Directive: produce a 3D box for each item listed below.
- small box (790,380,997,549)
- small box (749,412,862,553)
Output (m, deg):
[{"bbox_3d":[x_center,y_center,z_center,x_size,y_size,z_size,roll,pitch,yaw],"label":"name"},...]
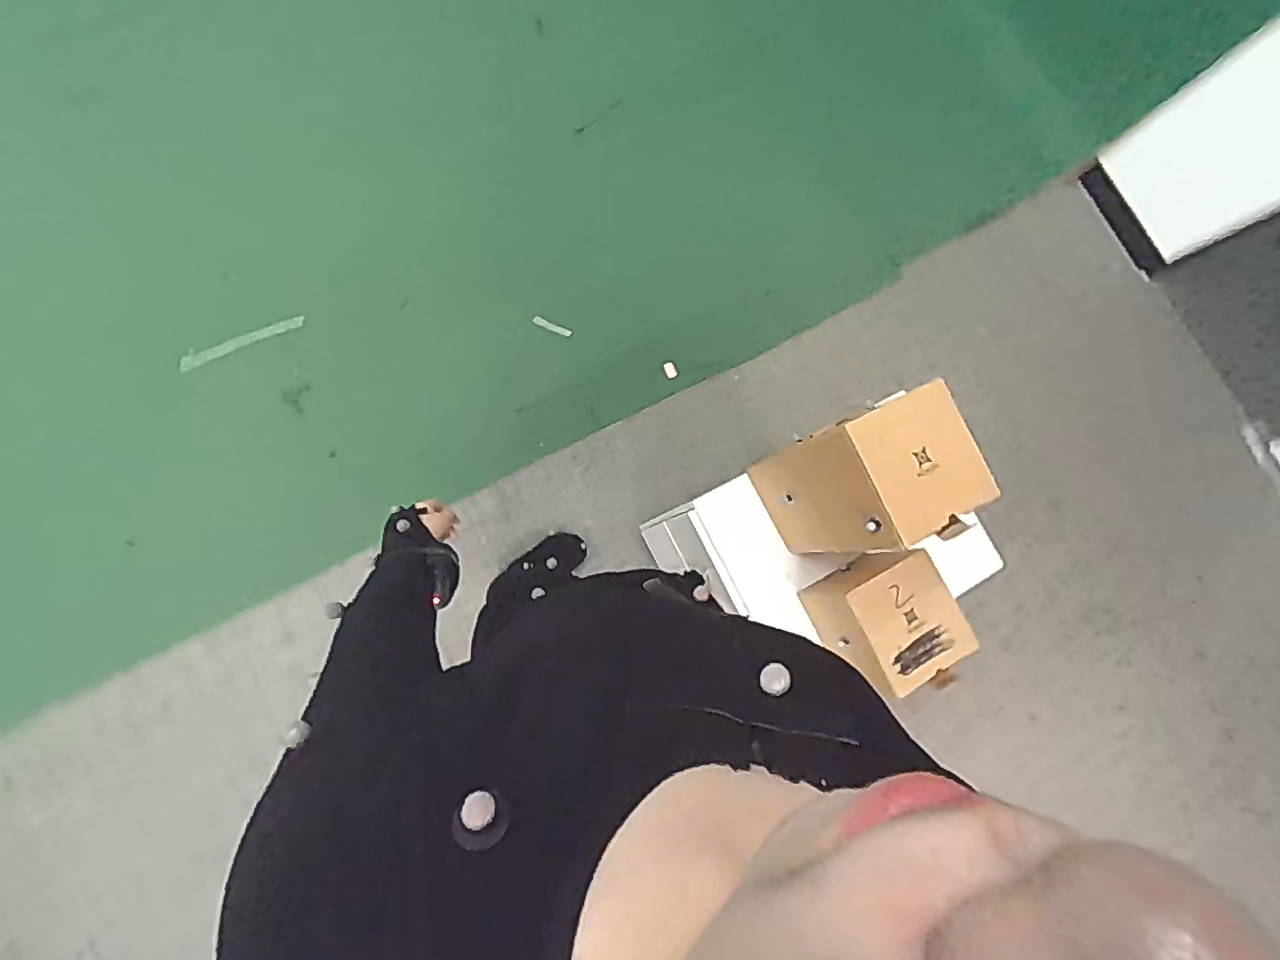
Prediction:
[{"bbox_3d":[0.344,-0.013,0.768,0.168,0.176,0.179,-25,87,-14],"label":"small box"},{"bbox_3d":[0.316,0.013,0.927,0.168,0.176,0.179,-27,86,-14],"label":"small box"}]
